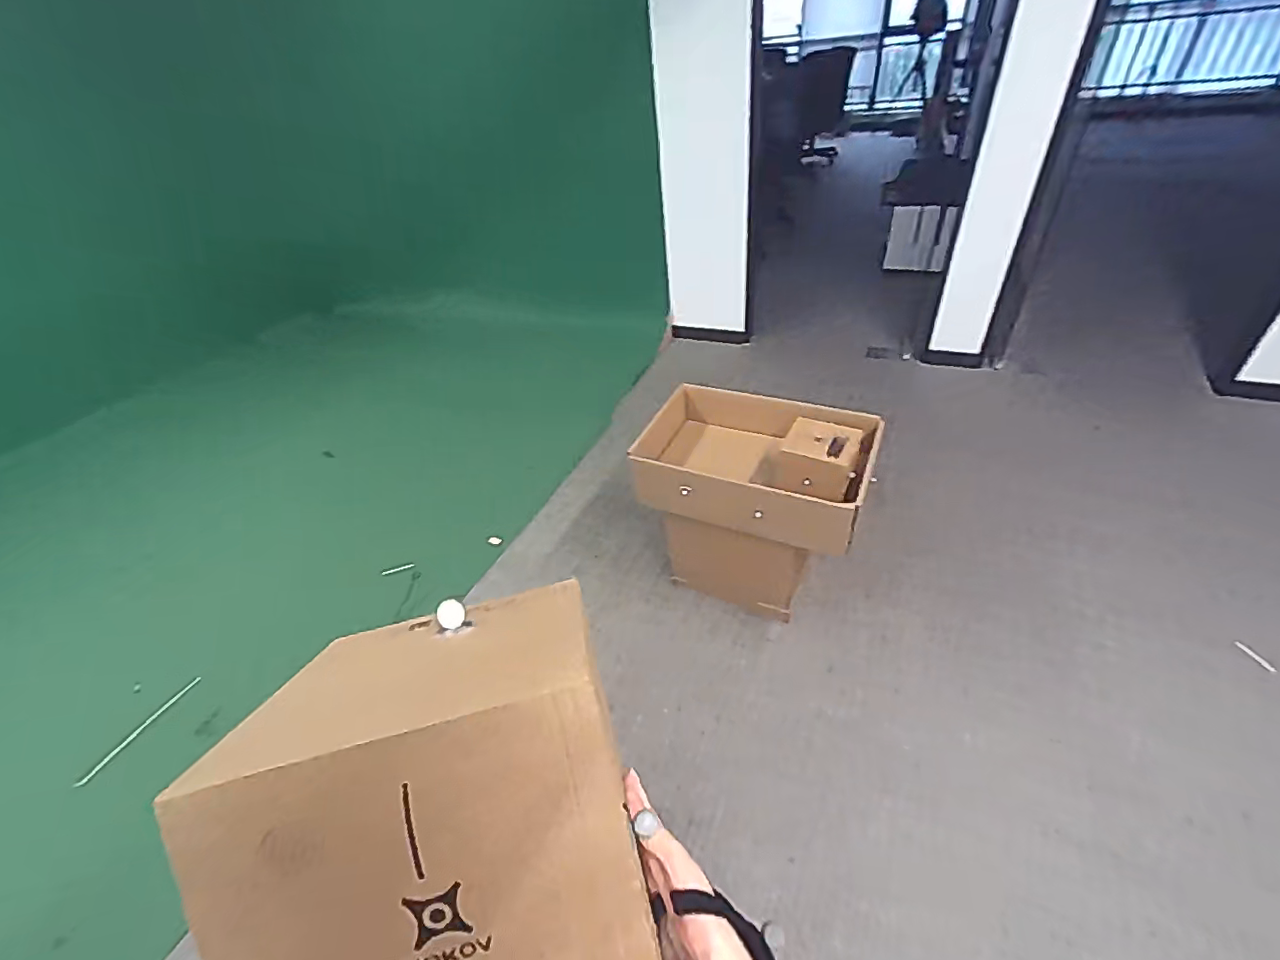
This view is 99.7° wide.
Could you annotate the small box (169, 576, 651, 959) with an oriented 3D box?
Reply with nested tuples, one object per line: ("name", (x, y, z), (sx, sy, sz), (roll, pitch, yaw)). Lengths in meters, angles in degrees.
("small box", (-0.094, 0.171, 0.301), (0.168, 0.179, 0.176), (-13, 5, -7))
